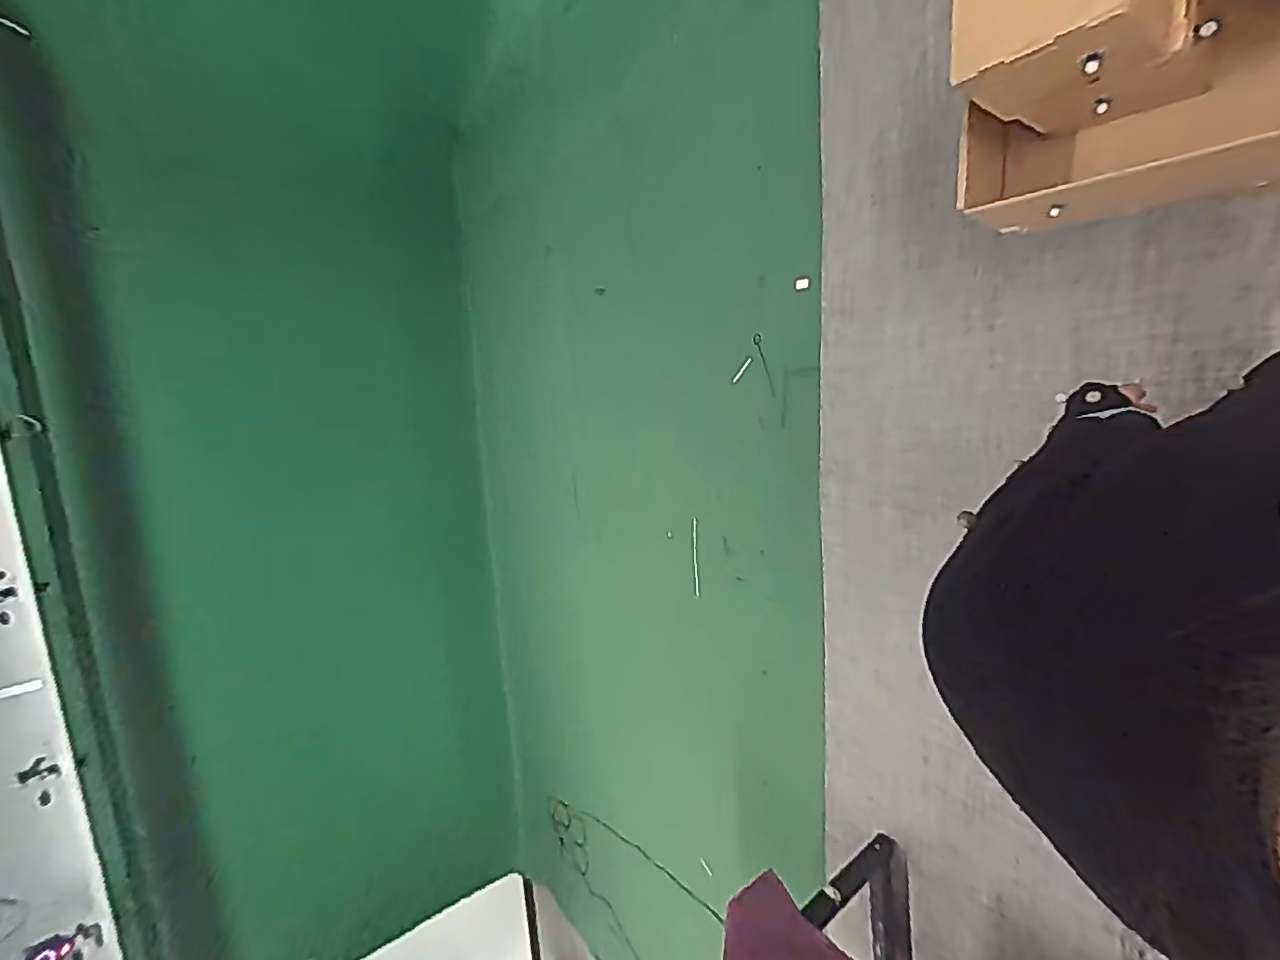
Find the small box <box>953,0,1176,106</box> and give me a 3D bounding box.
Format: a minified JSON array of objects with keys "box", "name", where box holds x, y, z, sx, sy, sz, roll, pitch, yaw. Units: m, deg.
[{"box":[0.488,-0.562,0.618,0.168,0.176,0.179,12,107,53],"name":"small box"}]
